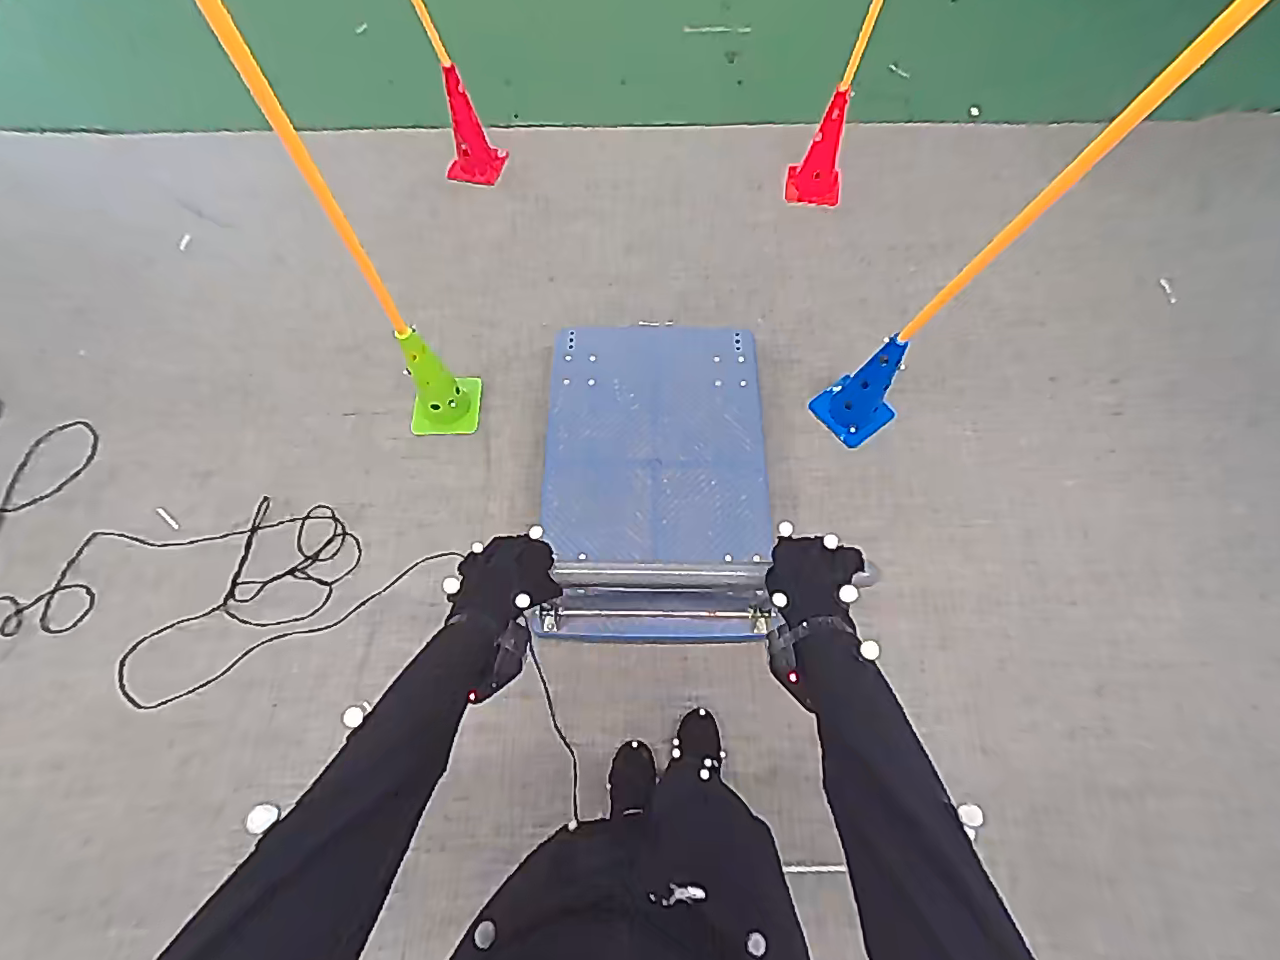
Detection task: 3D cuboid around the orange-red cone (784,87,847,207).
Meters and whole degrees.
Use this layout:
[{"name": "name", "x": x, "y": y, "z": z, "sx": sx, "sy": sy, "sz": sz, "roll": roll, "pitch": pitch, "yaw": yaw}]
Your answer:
[{"name": "orange-red cone", "x": 0.649, "y": -1.176, "z": 1.889, "sx": 0.198, "sy": 0.360, "sz": 0.199, "roll": 9, "pitch": 68, "yaw": 5}]
